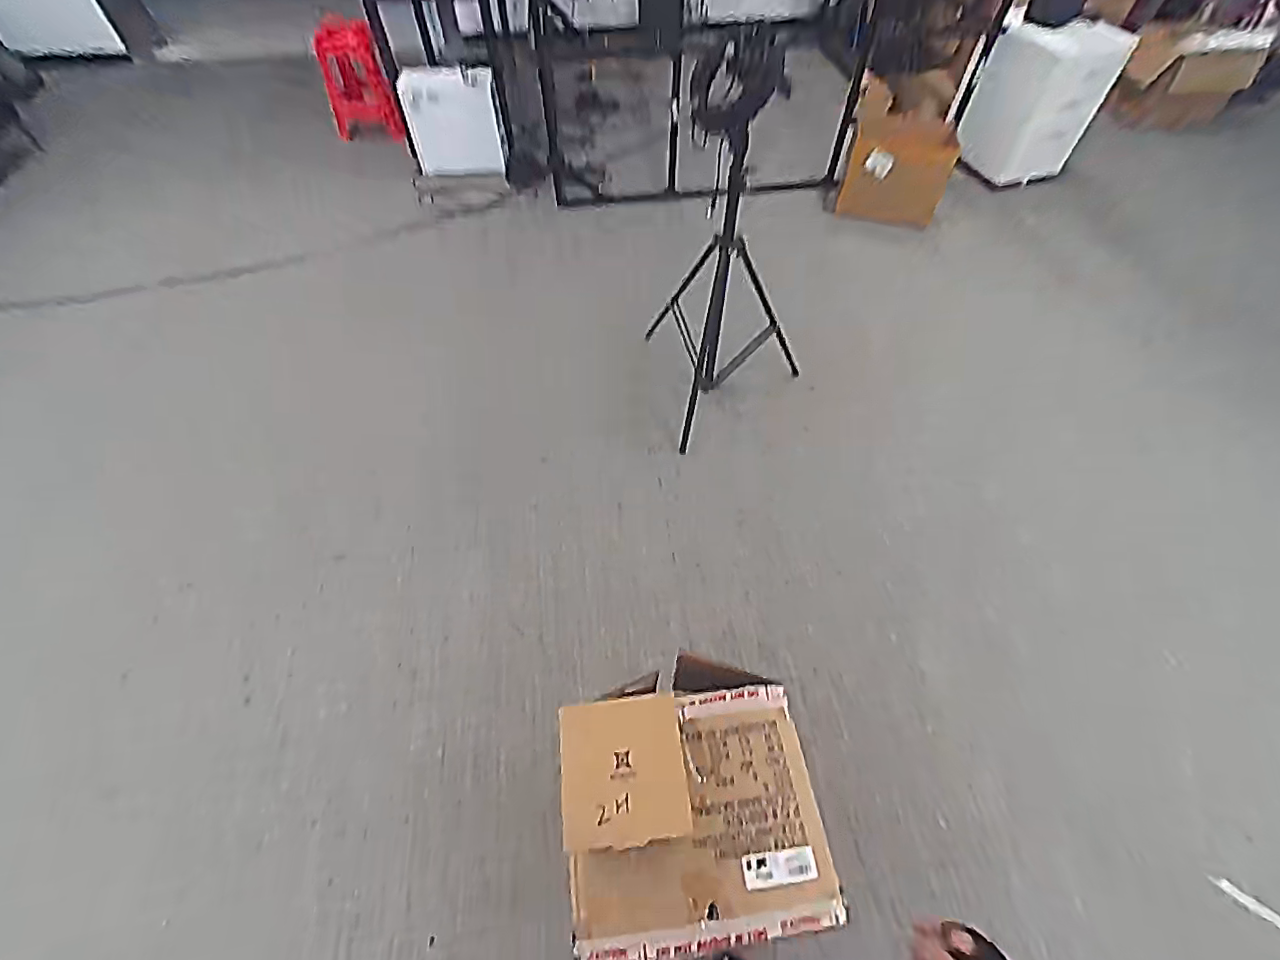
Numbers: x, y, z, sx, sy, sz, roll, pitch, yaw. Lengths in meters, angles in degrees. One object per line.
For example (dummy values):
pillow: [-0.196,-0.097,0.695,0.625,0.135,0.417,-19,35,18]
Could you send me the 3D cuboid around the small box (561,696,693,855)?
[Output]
small box: [-0.021,0.432,0.787,0.168,0.176,0.179,-7,56,-2]
